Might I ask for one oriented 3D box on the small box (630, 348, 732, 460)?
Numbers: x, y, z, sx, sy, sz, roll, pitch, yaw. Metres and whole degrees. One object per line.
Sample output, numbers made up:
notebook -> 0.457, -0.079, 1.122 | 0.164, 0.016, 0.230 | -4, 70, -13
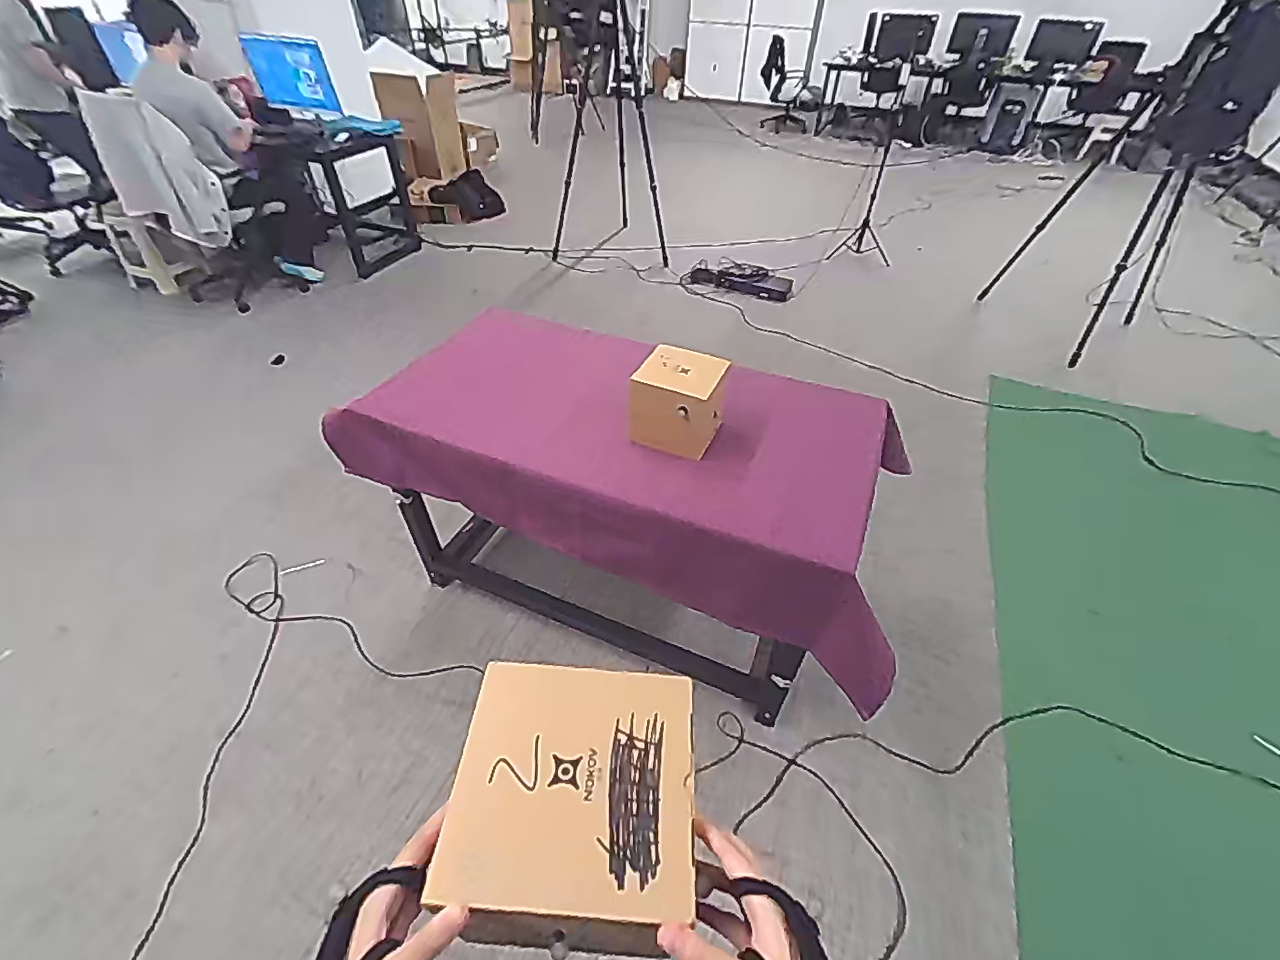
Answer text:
small box -> 0.089, -0.167, 1.216 | 0.179, 0.176, 0.168 | 19, 45, 17
